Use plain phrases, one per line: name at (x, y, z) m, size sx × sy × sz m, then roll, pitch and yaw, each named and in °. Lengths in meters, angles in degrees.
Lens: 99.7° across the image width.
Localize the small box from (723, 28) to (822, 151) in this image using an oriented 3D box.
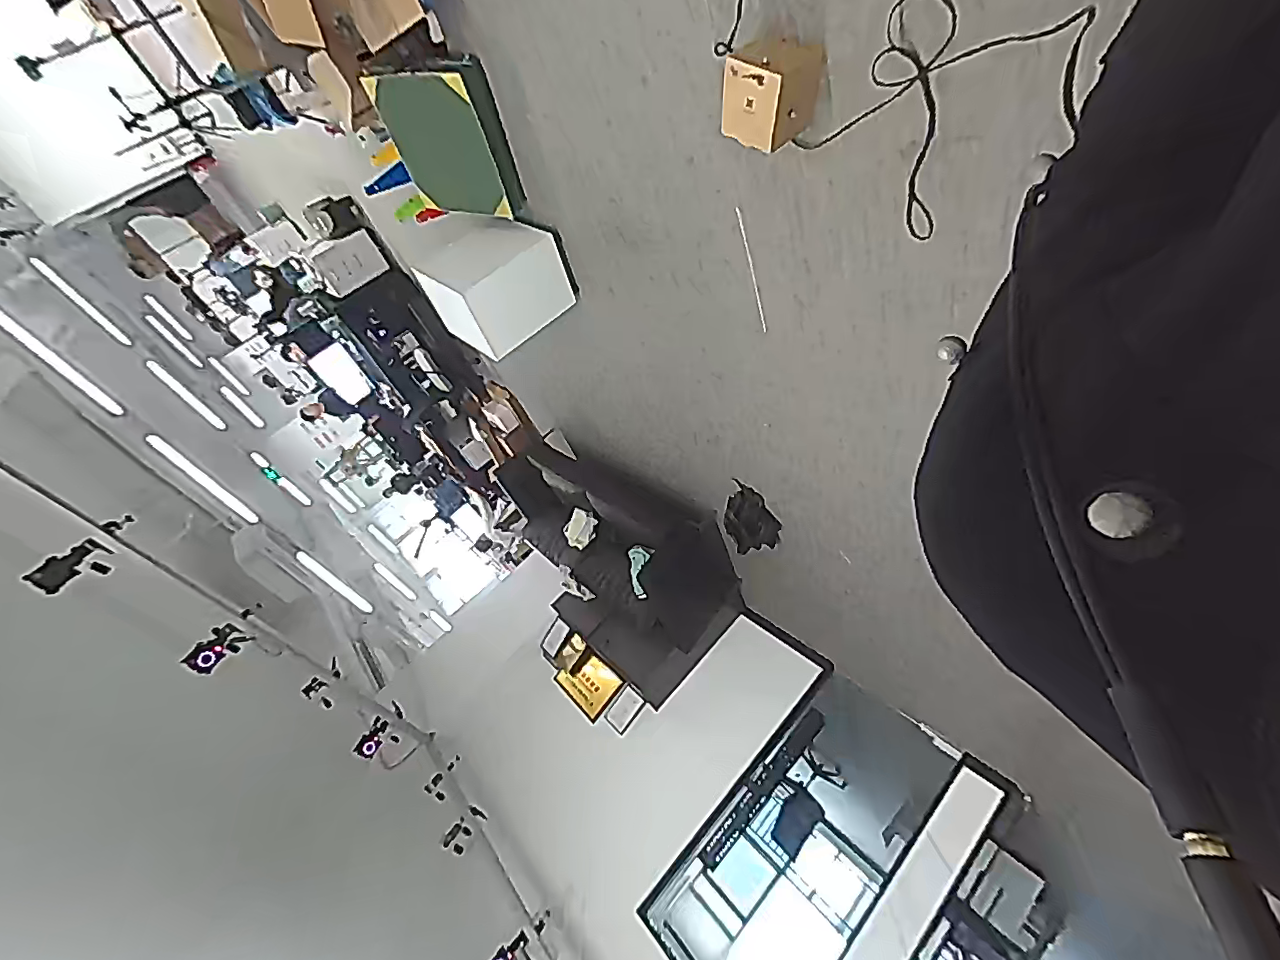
small box at (0.325, -0.965, 1.337) m, size 0.168 × 0.176 × 0.179 m, roll 40°, pitch 160°, yaw 23°
